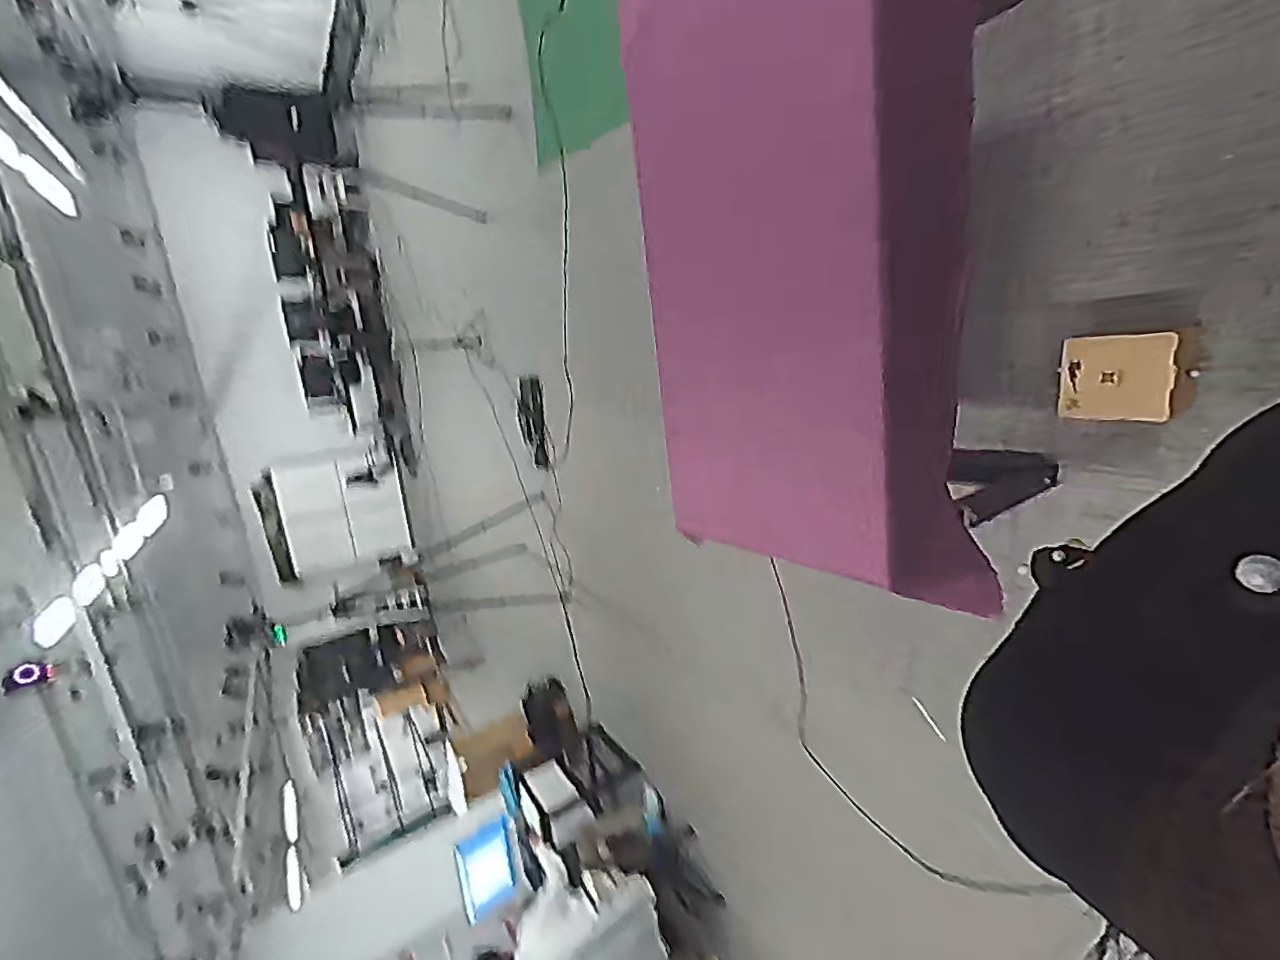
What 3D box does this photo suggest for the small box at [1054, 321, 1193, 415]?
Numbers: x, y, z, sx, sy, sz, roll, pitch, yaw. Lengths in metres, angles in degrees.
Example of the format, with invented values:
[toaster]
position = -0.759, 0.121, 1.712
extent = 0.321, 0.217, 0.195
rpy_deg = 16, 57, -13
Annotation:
[small box]
position = 0.998, -0.233, 1.117
extent = 0.179, 0.176, 0.168
rpy_deg = 15, 115, 54
